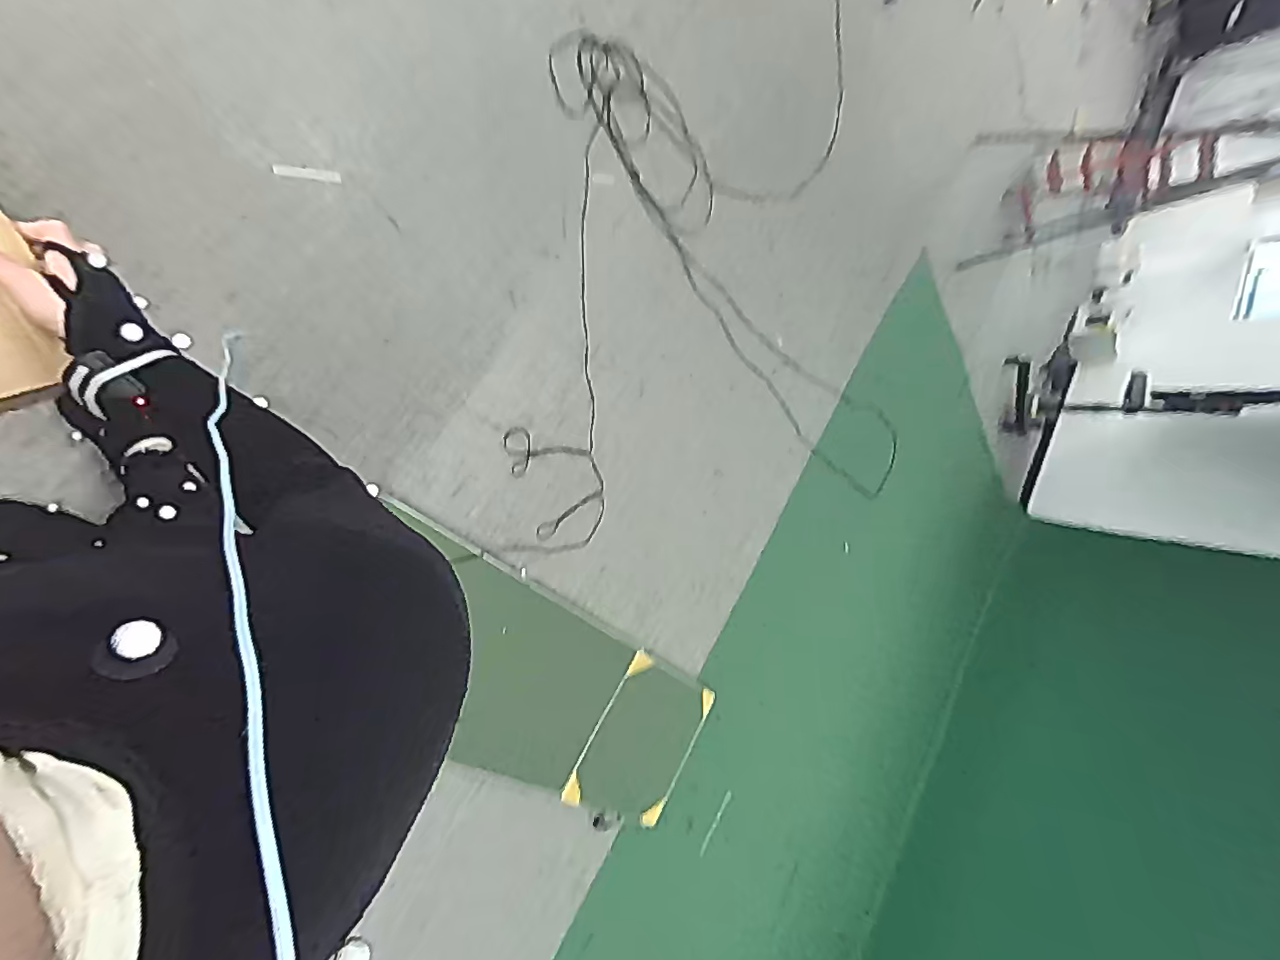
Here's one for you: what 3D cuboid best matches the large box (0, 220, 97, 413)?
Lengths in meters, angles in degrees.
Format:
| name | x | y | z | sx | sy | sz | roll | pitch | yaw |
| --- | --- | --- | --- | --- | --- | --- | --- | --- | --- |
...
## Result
| name | x | y | z | sx | sy | sz | roll | pitch | yaw |
| --- | --- | --- | --- | --- | --- | --- | --- | --- | --- |
| large box | -0.807 | -0.146 | 0.431 | 0.408 | 0.320 | 0.320 | -45 | 124 | -45 |
